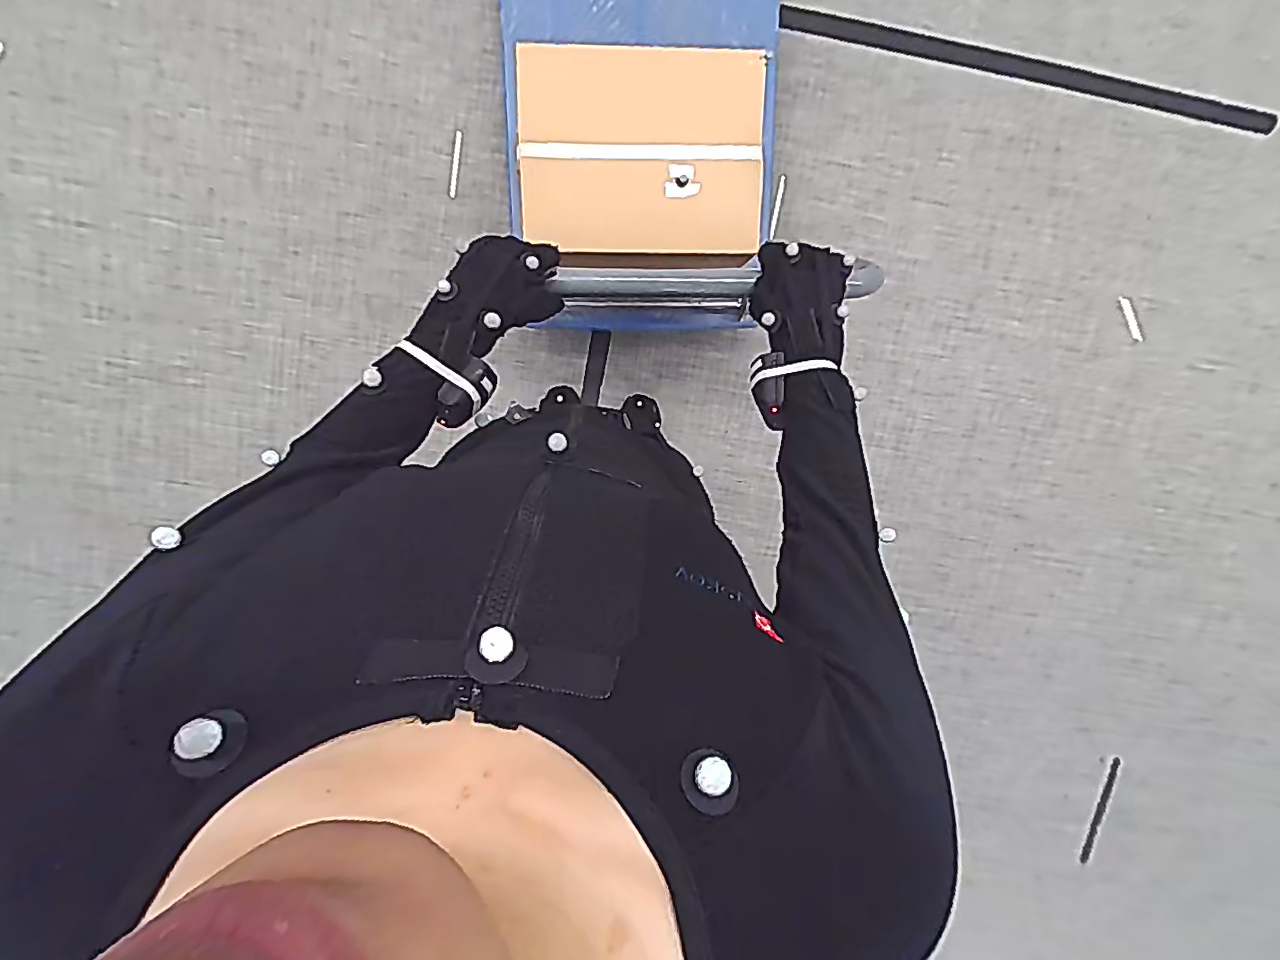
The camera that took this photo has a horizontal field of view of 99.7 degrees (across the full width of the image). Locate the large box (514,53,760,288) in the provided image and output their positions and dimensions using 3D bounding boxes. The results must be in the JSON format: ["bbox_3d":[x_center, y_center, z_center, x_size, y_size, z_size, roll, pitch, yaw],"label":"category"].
[{"bbox_3d":[-0.010,-0.558,1.040,0.408,0.320,0.320,-1,101,-3],"label":"large box"}]
